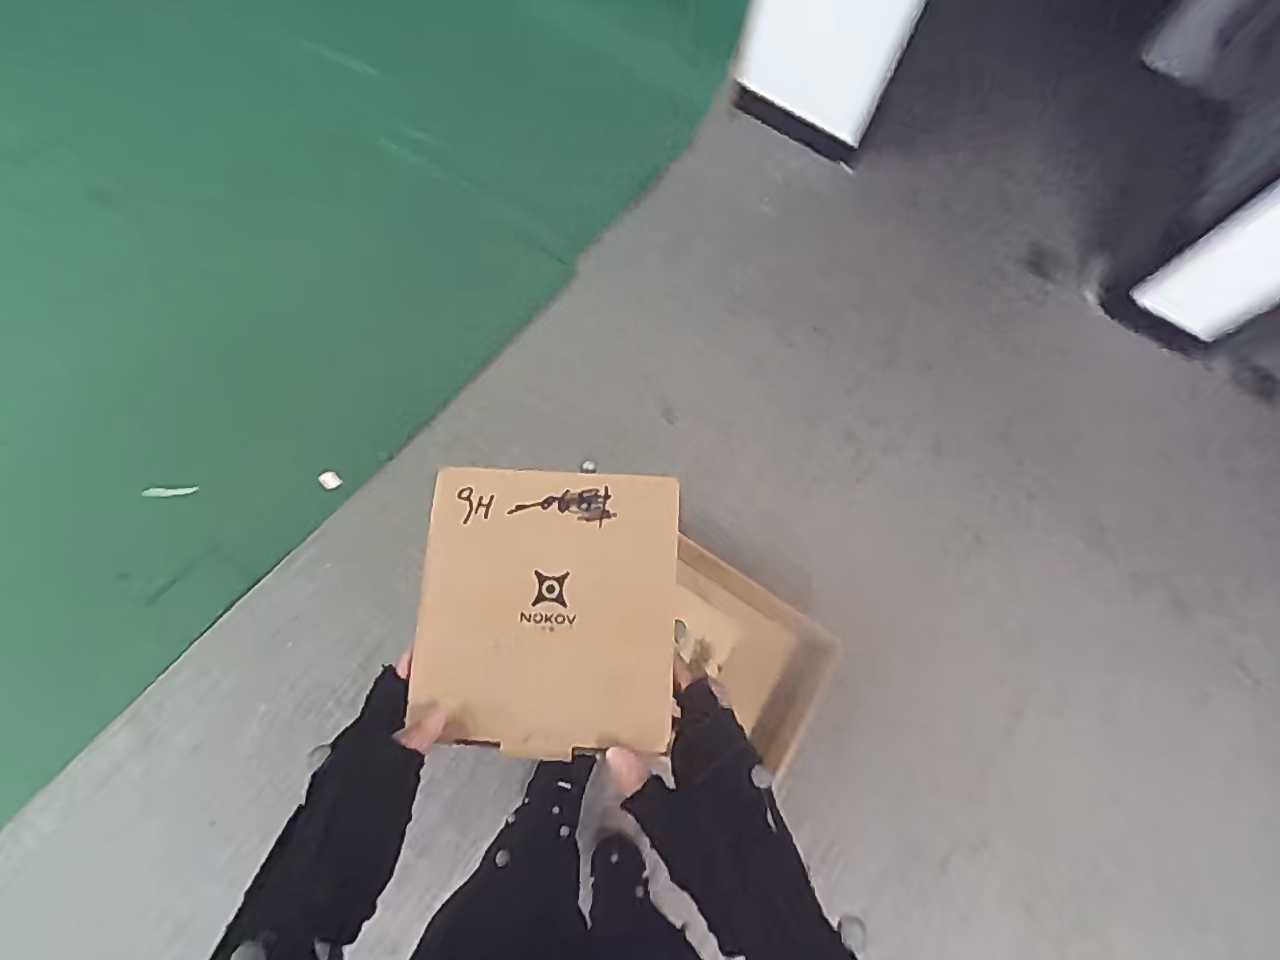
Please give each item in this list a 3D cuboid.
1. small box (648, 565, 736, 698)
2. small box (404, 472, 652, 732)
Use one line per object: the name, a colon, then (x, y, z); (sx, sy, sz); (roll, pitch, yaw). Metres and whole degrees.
small box: (0.052, 0.289, 1.034); (0.179, 0.176, 0.168); (35, 71, 8)
small box: (-0.074, 0.093, 0.450); (0.168, 0.176, 0.179); (0, 80, 1)
